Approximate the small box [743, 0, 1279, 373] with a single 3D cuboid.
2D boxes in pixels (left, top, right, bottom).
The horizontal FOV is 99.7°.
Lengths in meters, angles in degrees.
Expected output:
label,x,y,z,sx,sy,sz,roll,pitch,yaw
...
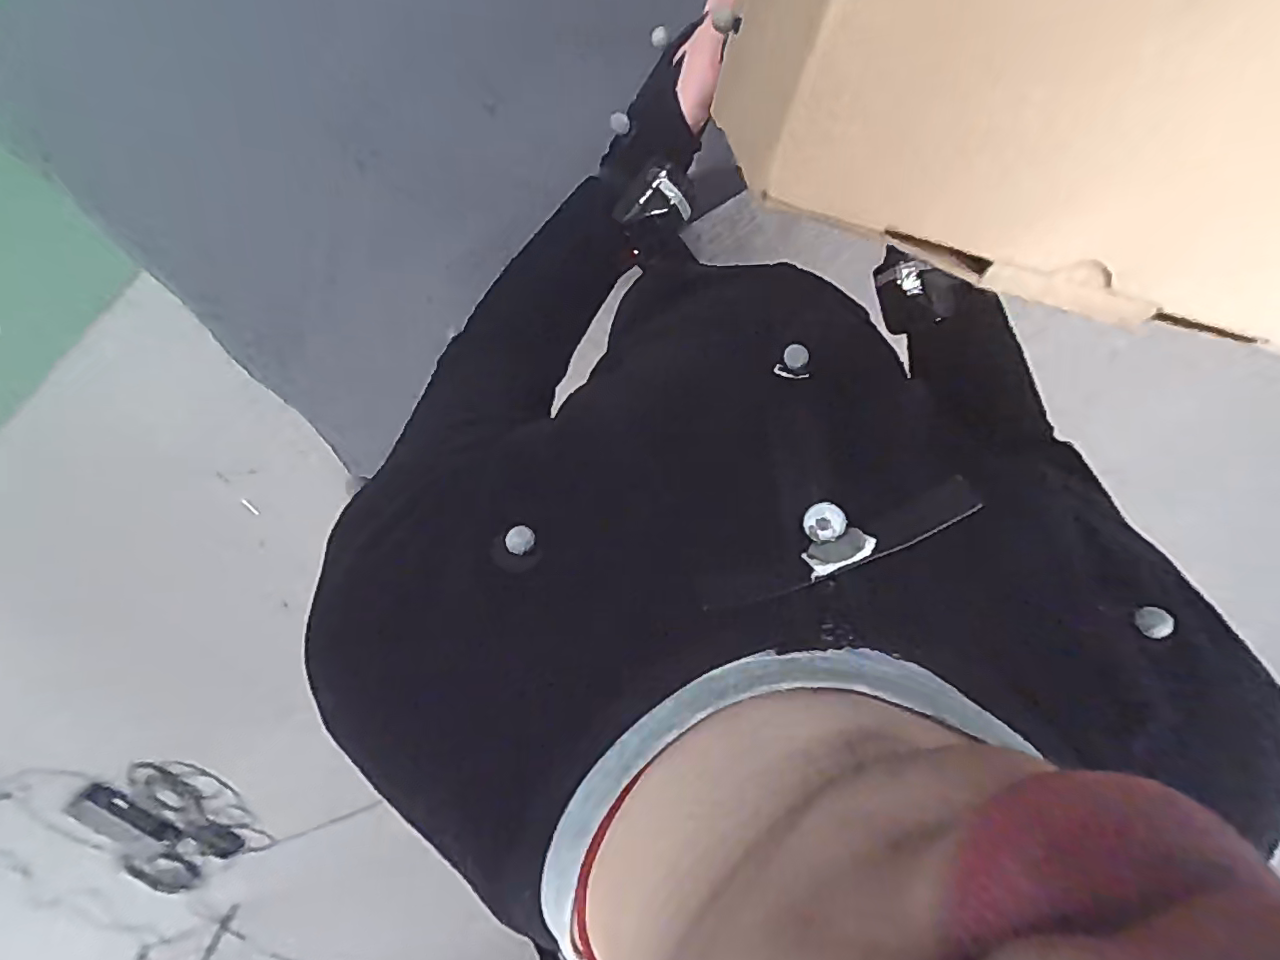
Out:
label,x,y,z,sx,sy,sz,roll,pitch,yaw
small box,0.133,-0.158,0.138,0.168,0.176,0.179,14,130,-7
